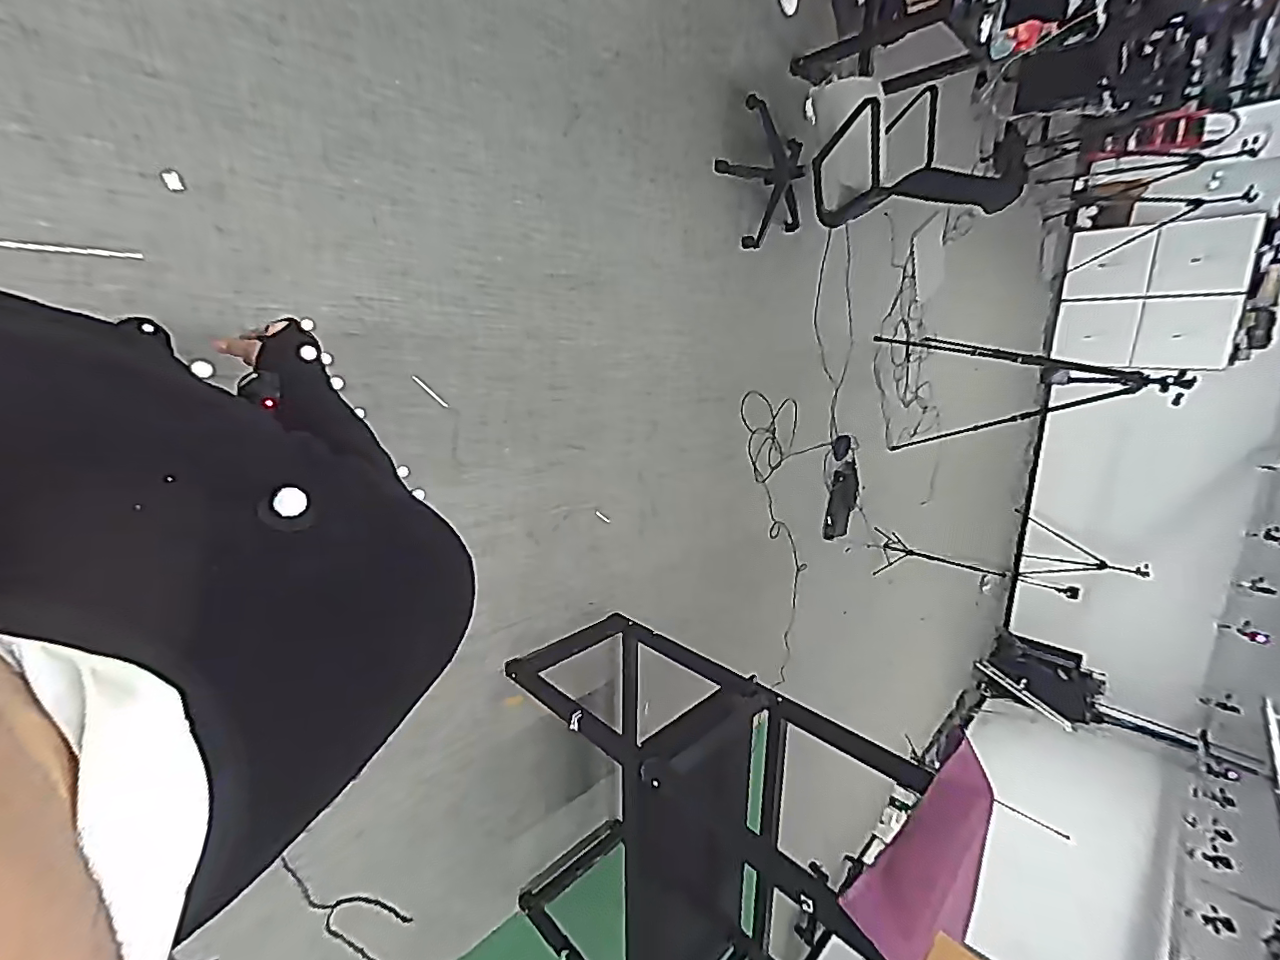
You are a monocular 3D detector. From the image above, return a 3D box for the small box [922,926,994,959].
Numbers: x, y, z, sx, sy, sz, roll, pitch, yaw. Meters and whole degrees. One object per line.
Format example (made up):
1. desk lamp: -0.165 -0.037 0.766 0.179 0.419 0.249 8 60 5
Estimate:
1. small box: 0.654 1.080 1.094 0.179 0.176 0.168 -9 106 -46
